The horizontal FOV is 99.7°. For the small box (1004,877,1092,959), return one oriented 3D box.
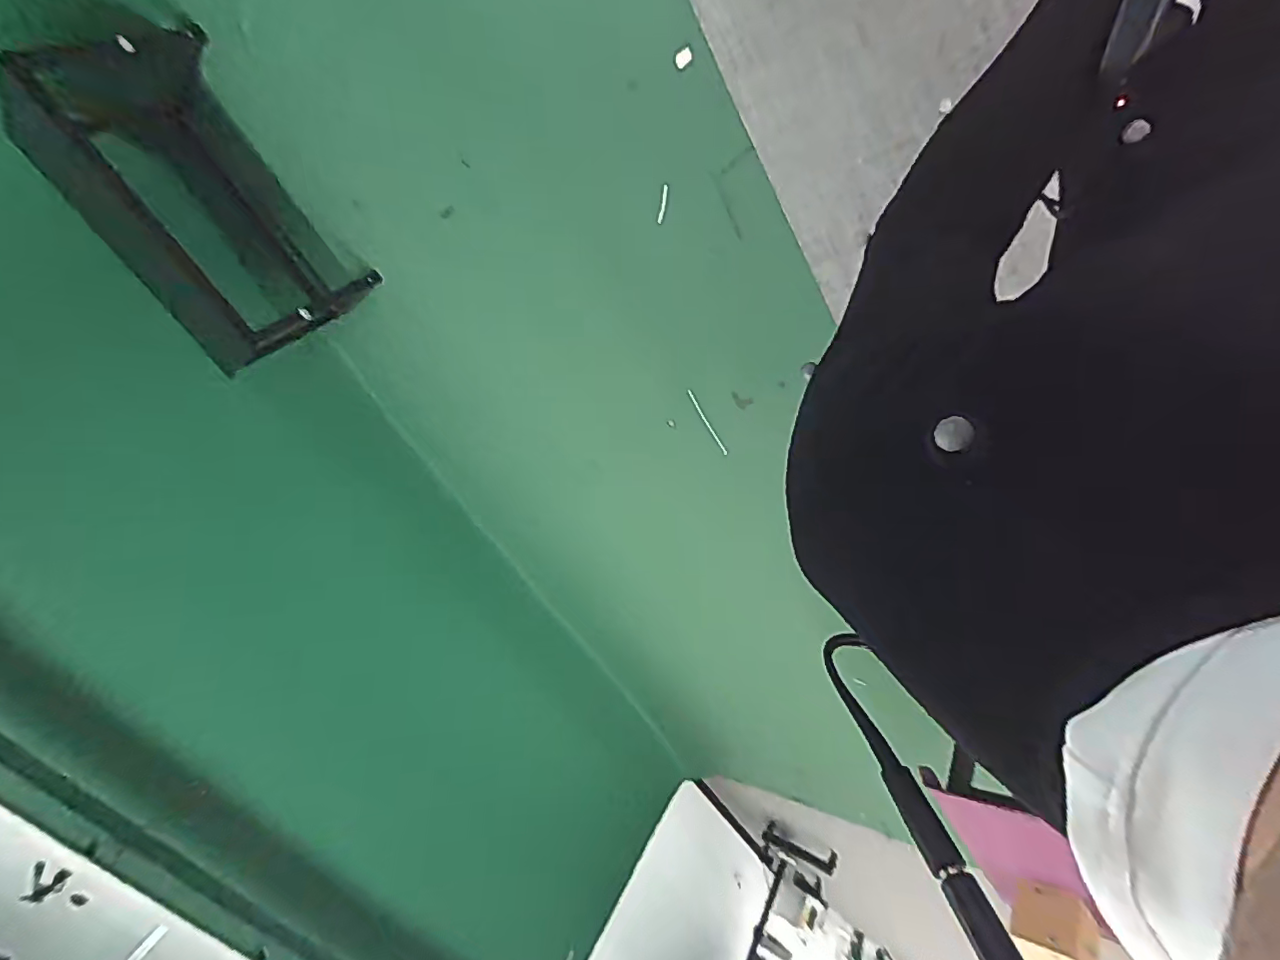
[{"bbox_3d":[1.193,1.315,1.576,0.168,0.176,0.179,-16,117,48],"label":"small box"}]
